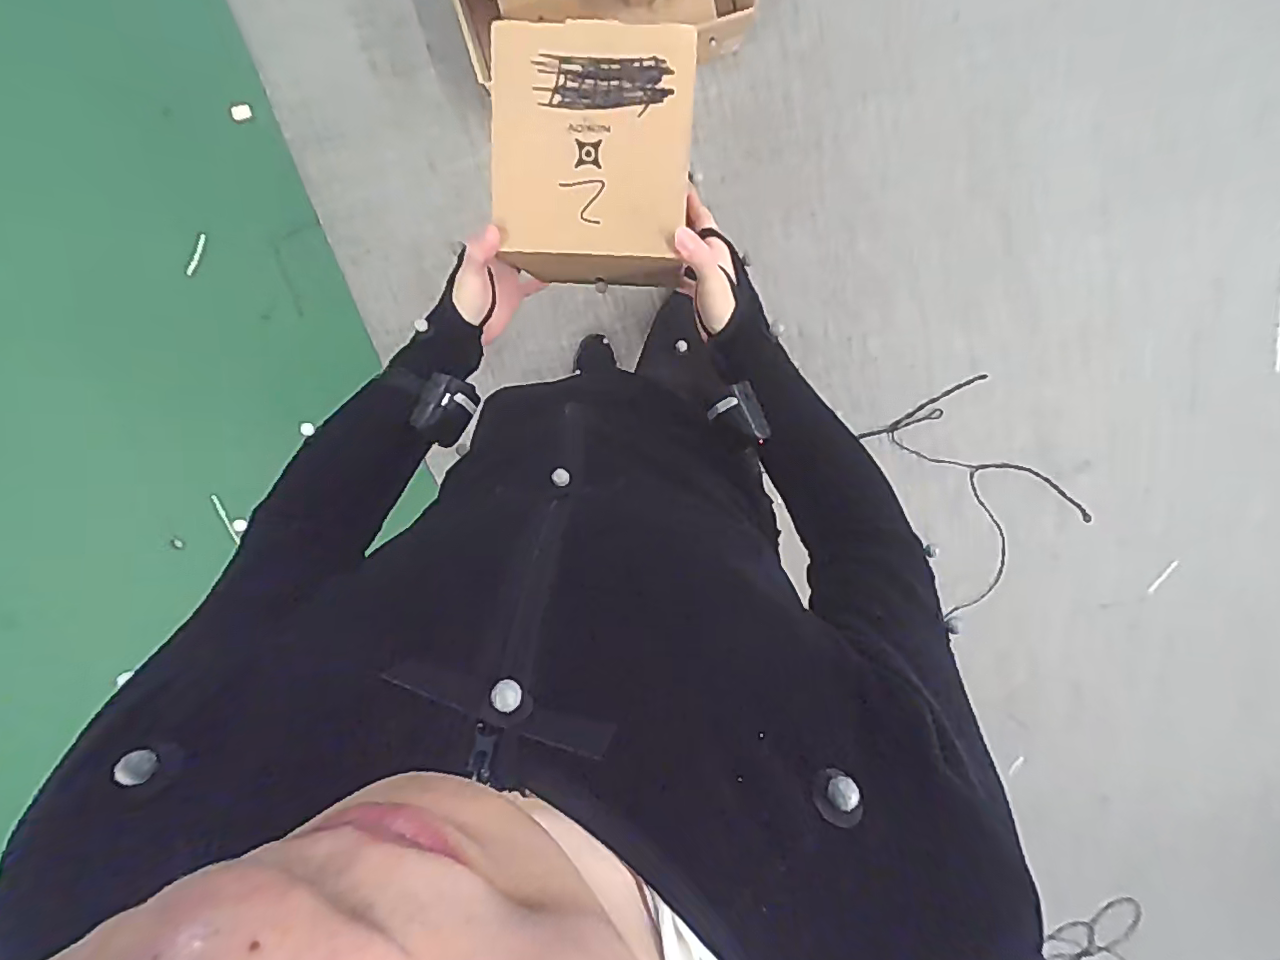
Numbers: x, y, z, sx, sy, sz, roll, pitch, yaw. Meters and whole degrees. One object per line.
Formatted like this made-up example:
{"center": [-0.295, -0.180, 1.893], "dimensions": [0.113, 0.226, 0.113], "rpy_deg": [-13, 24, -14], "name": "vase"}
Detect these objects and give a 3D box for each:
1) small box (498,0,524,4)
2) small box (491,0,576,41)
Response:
{"center": [-0.224, -1.013, 0.981], "dimensions": [0.168, 0.176, 0.179], "rpy_deg": [-16, 109, 2], "name": "small box"}
{"center": [-0.237, -1.064, 1.133], "dimensions": [0.168, 0.176, 0.179], "rpy_deg": [-15, 109, 1], "name": "small box"}
